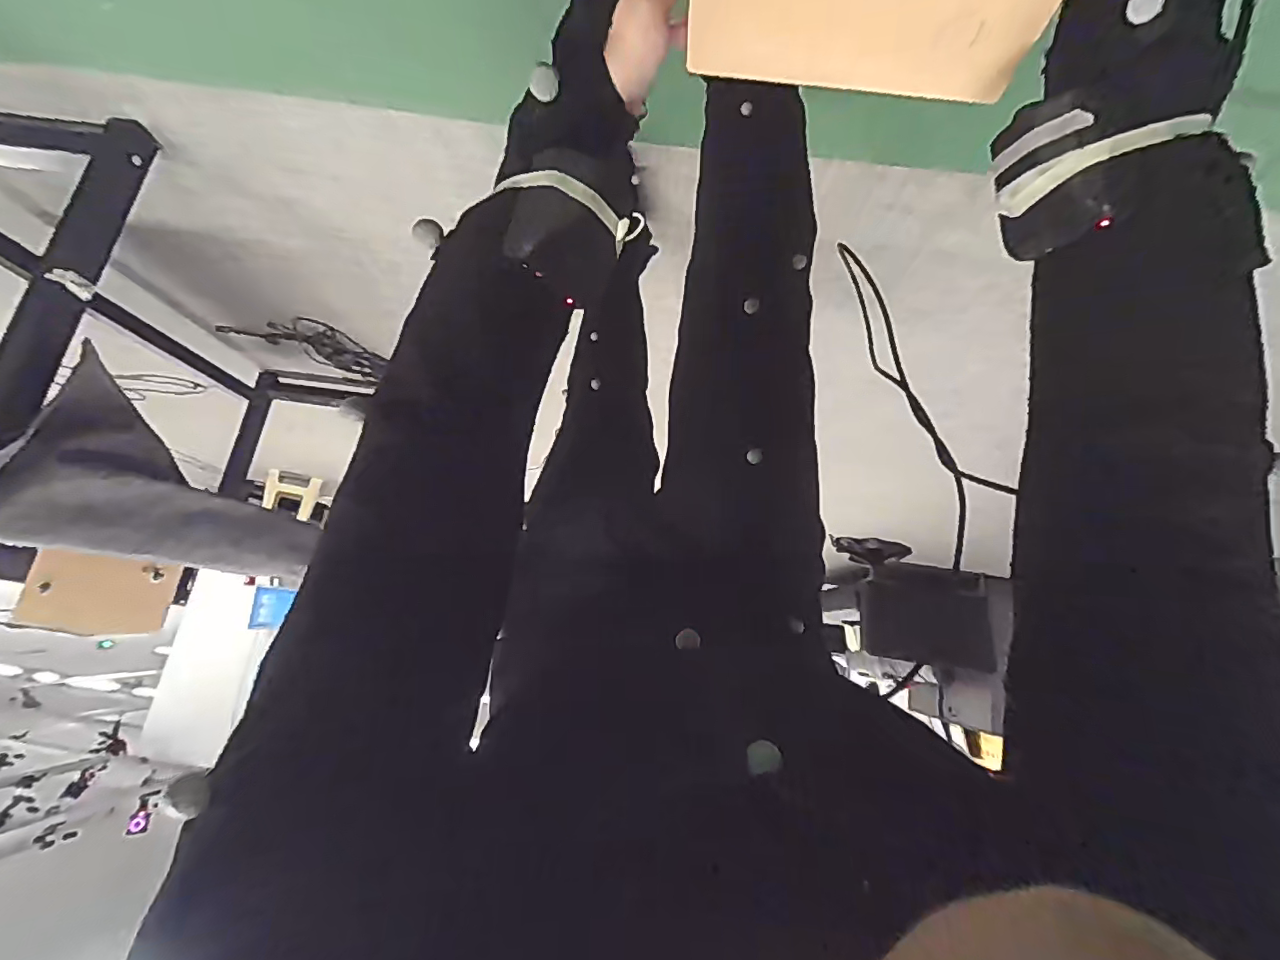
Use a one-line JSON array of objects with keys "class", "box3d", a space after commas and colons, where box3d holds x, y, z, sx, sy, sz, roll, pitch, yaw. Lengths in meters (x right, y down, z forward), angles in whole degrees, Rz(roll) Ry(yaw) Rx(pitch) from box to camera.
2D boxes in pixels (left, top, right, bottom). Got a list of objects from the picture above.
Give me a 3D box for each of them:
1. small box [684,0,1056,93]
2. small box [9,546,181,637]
[{"class": "small box", "box3d": [0.116, -0.311, 0.221, 0.168, 0.176, 0.179, 10, 164, 6]}, {"class": "small box", "box3d": [-1.149, 0.237, 1.158, 0.179, 0.176, 0.168, 7, 167, 1]}]
